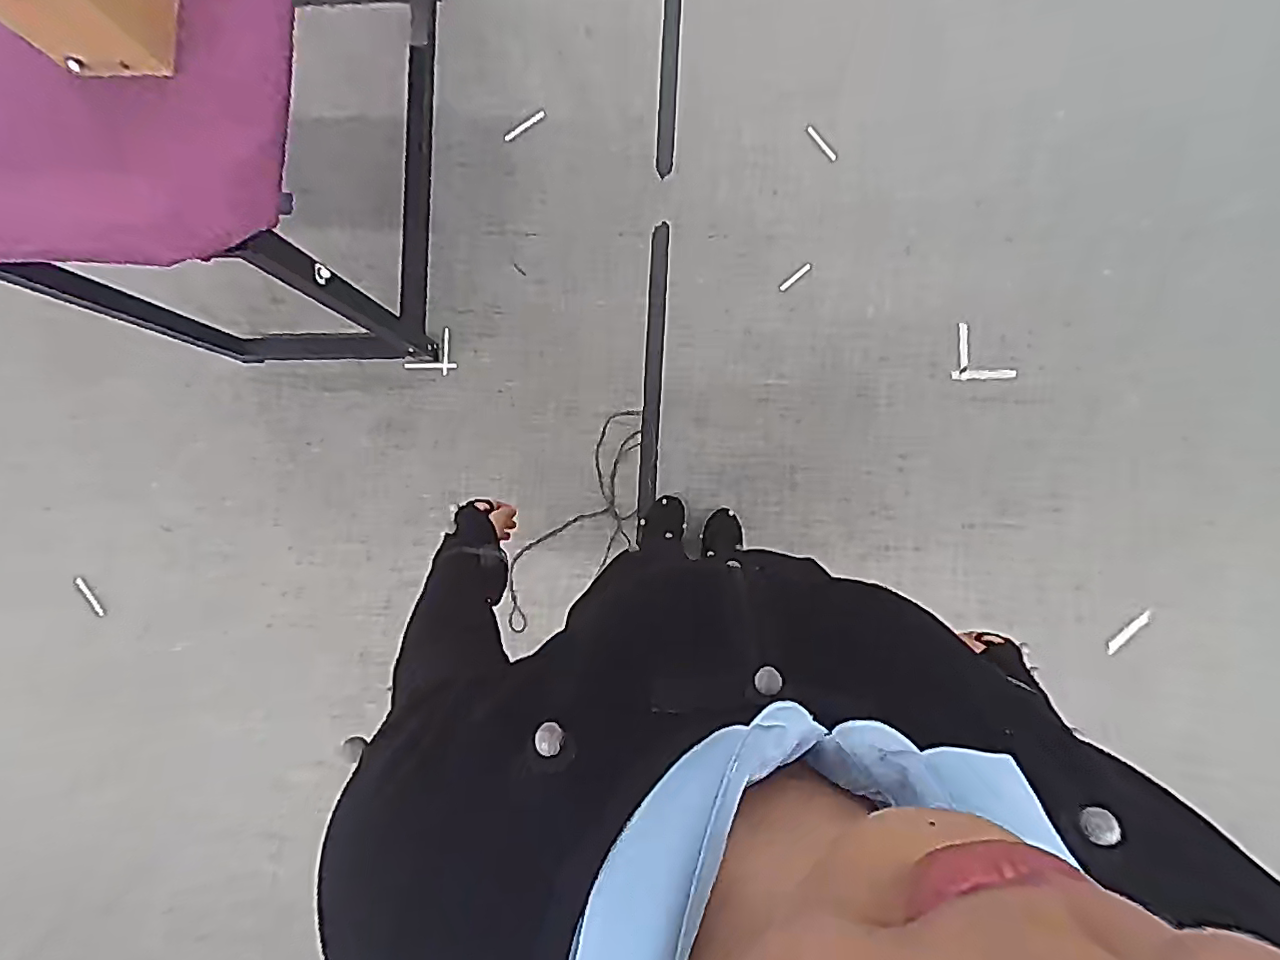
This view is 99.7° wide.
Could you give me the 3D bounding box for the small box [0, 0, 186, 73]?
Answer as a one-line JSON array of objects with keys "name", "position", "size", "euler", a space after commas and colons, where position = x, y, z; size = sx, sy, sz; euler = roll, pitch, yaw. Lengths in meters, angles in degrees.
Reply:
[{"name": "small box", "position": [-0.804, -0.728, 0.778], "size": [0.168, 0.176, 0.179], "euler": [2, 87, 2]}]
